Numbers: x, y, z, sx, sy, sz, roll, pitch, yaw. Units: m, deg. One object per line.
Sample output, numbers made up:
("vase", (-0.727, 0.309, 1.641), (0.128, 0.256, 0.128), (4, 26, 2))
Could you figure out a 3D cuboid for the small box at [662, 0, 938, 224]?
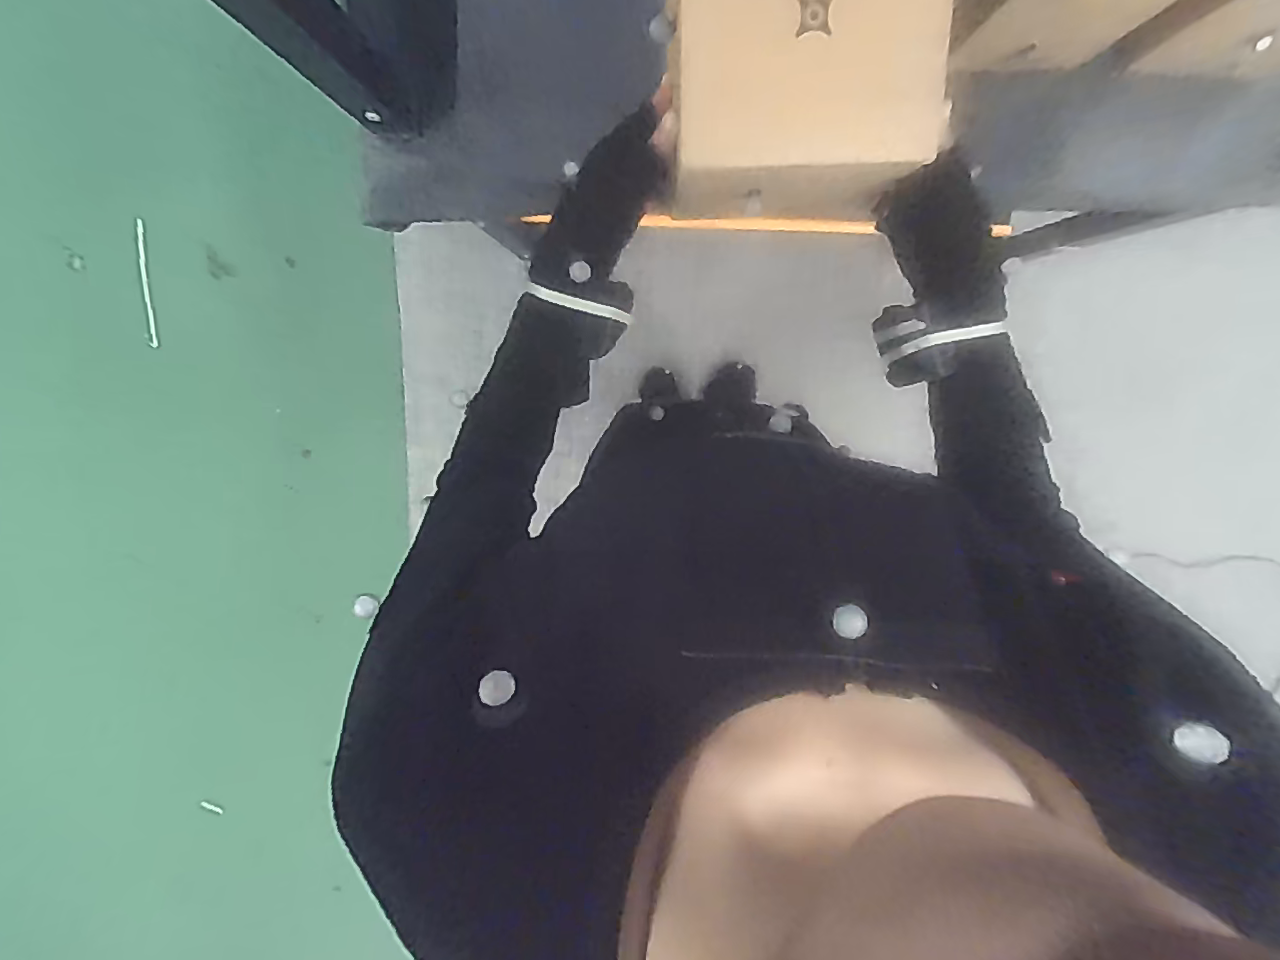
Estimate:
("small box", (0.102, -0.302, 0.410), (0.168, 0.176, 0.179), (-1, 103, 1))
